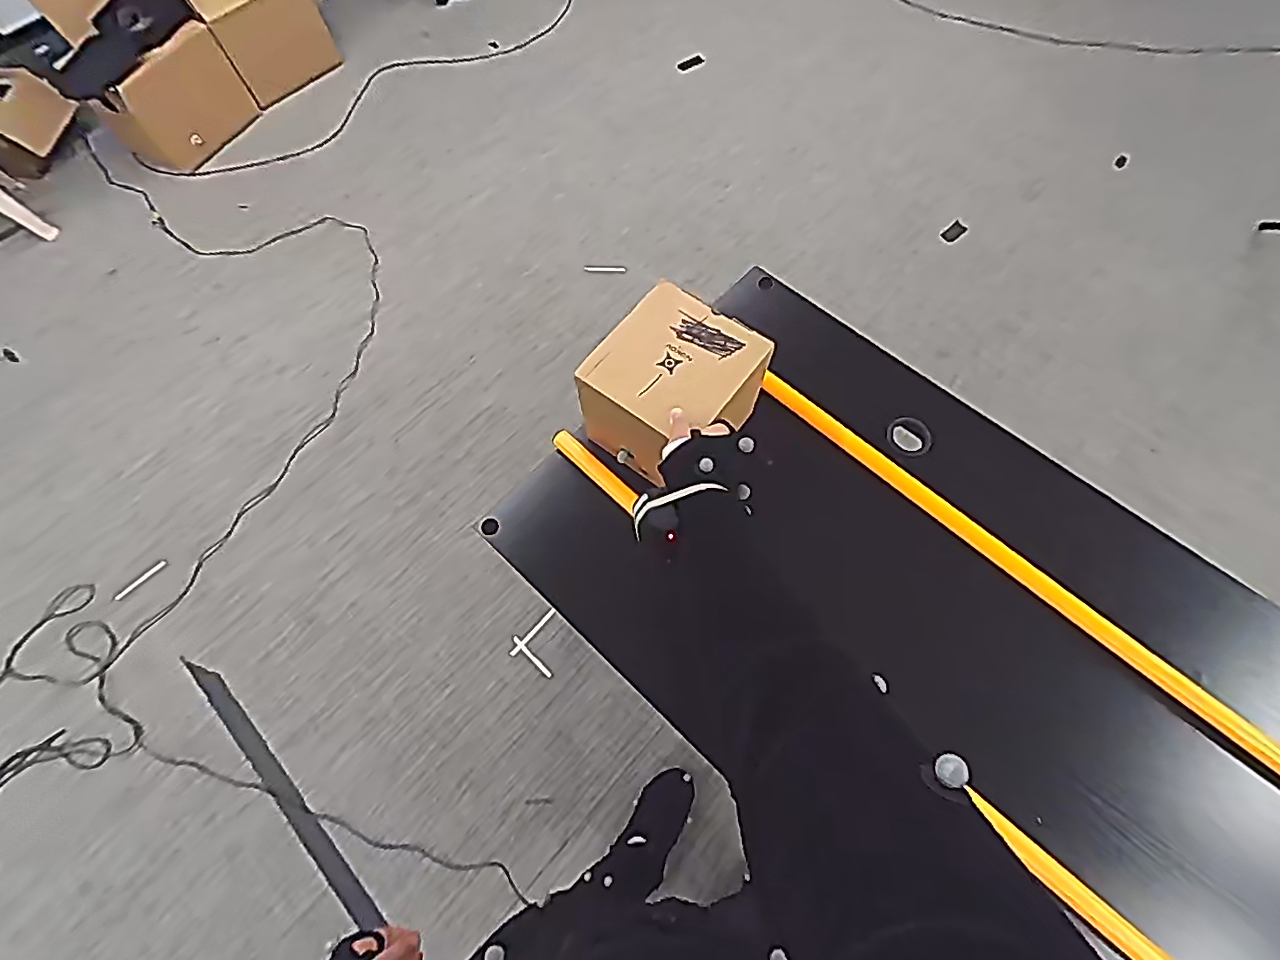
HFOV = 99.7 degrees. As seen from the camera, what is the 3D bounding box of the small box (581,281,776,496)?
[{"bbox_3d":[0.046,-0.111,0.701,0.168,0.176,0.179,35,74,15],"label":"small box"}]
